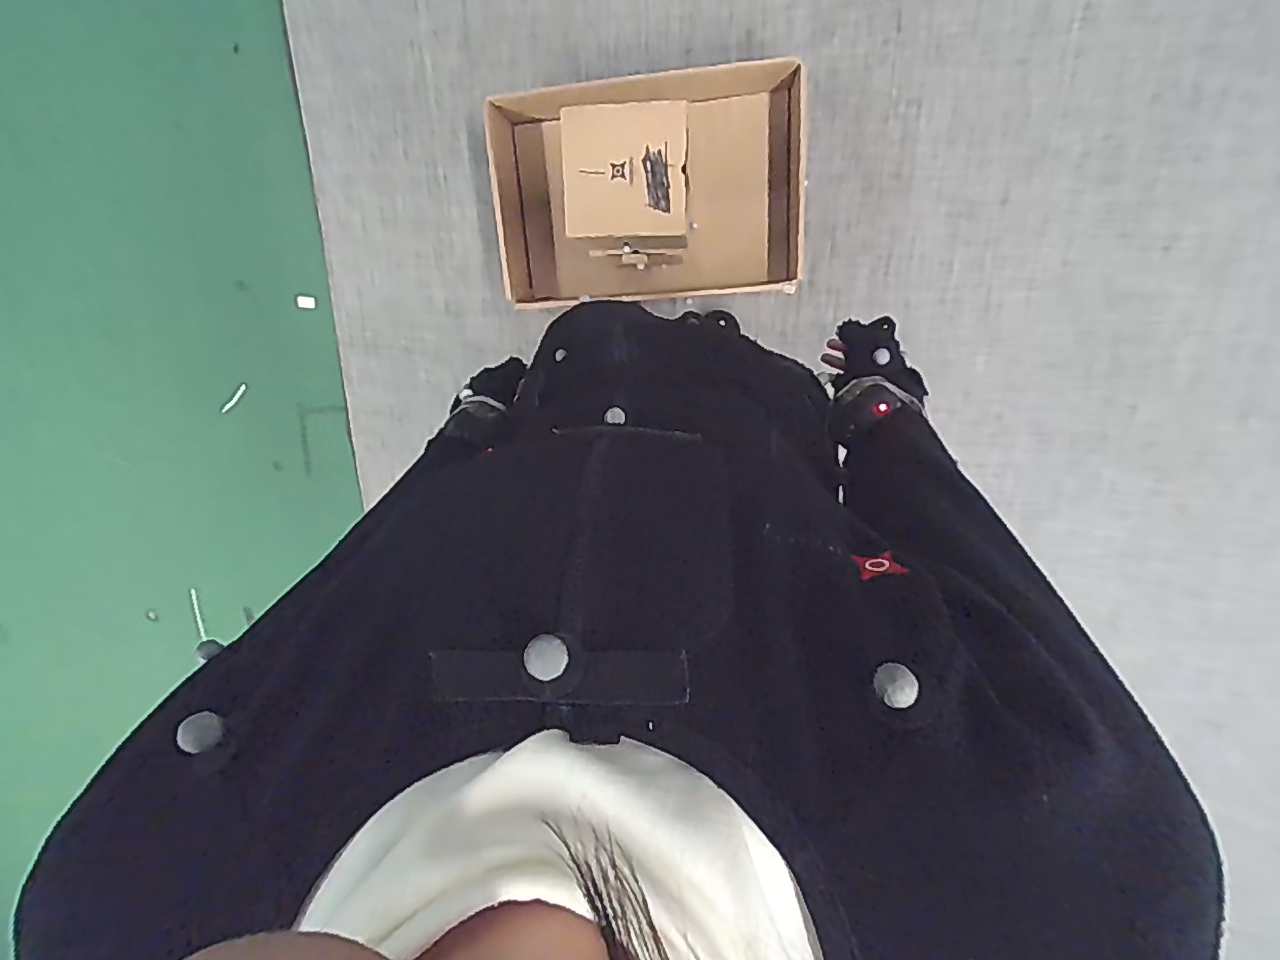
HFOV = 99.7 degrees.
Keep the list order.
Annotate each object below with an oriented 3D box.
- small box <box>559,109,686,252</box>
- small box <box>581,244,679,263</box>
[{"bbox_3d":[-0.020,-0.453,0.840,0.179,0.176,0.168,2,106,6],"label":"small box"},{"bbox_3d":[-0.012,-0.493,0.983,0.168,0.176,0.179,2,108,6],"label":"small box"}]
